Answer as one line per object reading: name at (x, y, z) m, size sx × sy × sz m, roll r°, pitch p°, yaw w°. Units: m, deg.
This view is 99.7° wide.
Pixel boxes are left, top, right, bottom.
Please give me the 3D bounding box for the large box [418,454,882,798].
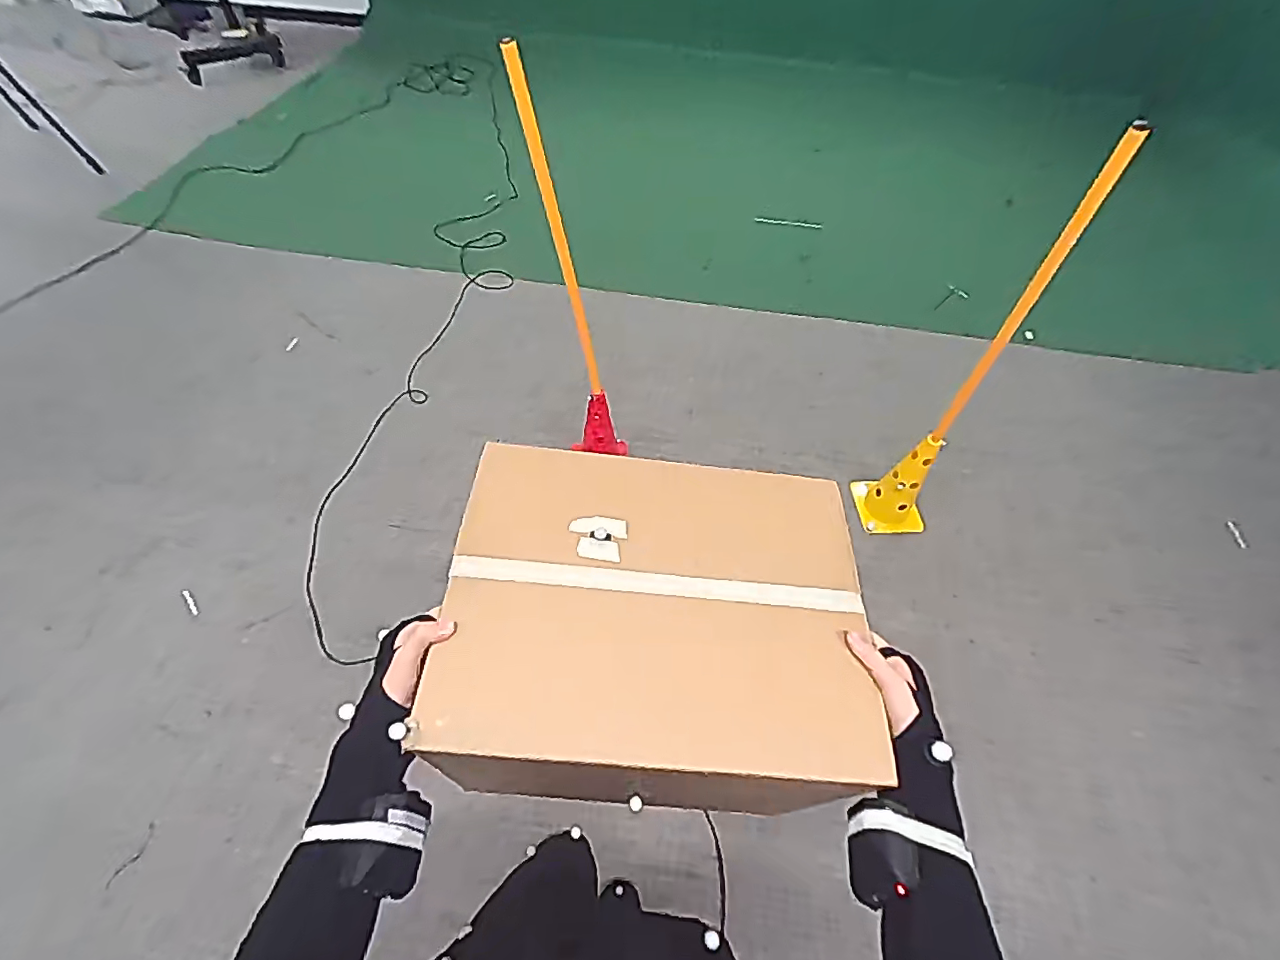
large box at (0.007, 0.195, 0.660) m, size 0.408 × 0.320 × 0.320 m, roll 6°, pitch 54°, yaw -3°
